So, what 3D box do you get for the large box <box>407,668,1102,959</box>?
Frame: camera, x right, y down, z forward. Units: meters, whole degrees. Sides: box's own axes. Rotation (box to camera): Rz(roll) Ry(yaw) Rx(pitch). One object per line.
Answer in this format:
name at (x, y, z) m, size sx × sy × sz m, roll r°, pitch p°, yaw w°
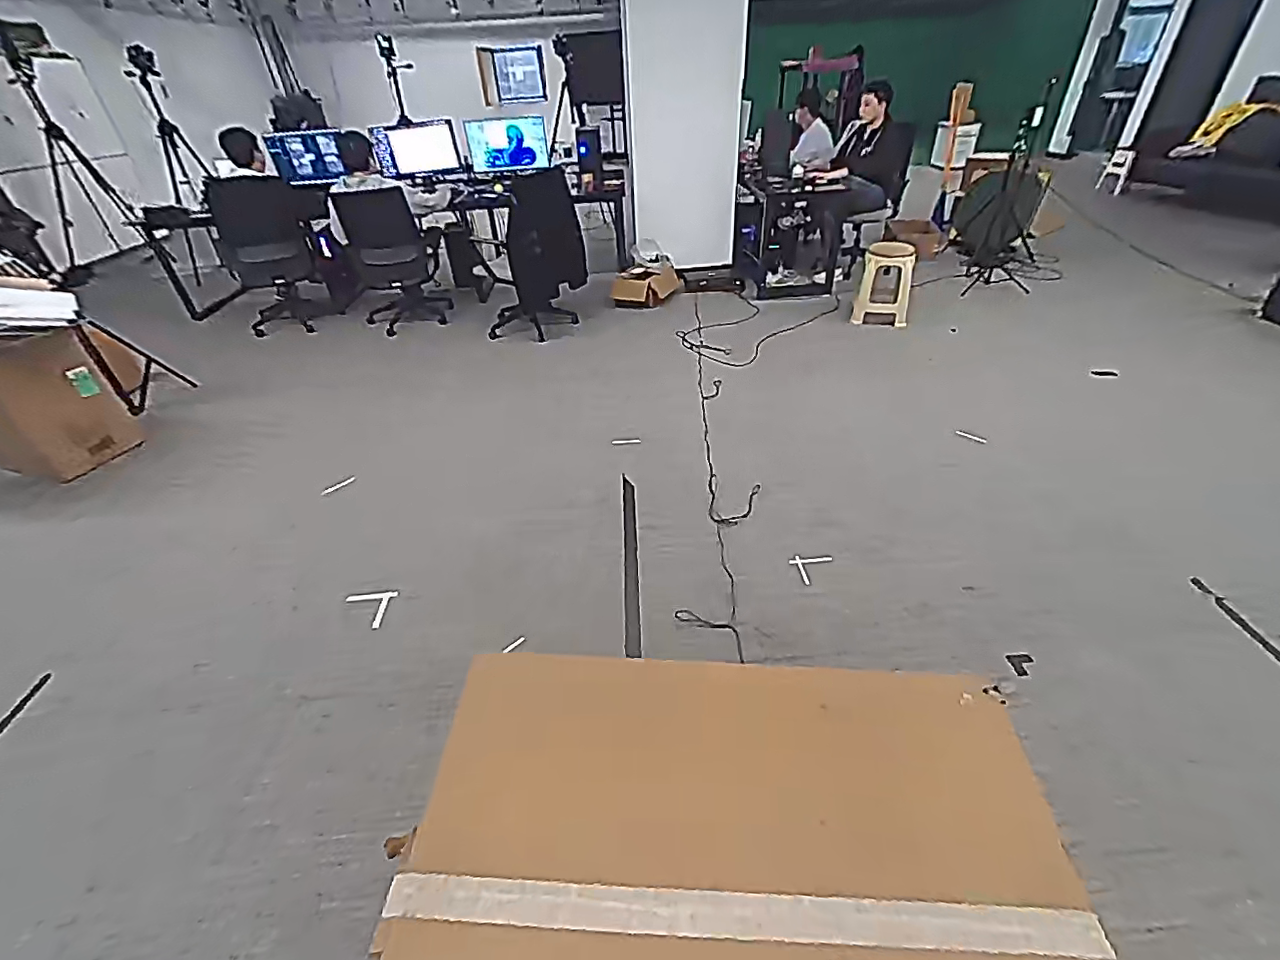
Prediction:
large box at (0.063, 0.369, 0.422) m, size 0.408 × 0.320 × 0.320 m, roll 2°, pitch 44°, yaw 1°
